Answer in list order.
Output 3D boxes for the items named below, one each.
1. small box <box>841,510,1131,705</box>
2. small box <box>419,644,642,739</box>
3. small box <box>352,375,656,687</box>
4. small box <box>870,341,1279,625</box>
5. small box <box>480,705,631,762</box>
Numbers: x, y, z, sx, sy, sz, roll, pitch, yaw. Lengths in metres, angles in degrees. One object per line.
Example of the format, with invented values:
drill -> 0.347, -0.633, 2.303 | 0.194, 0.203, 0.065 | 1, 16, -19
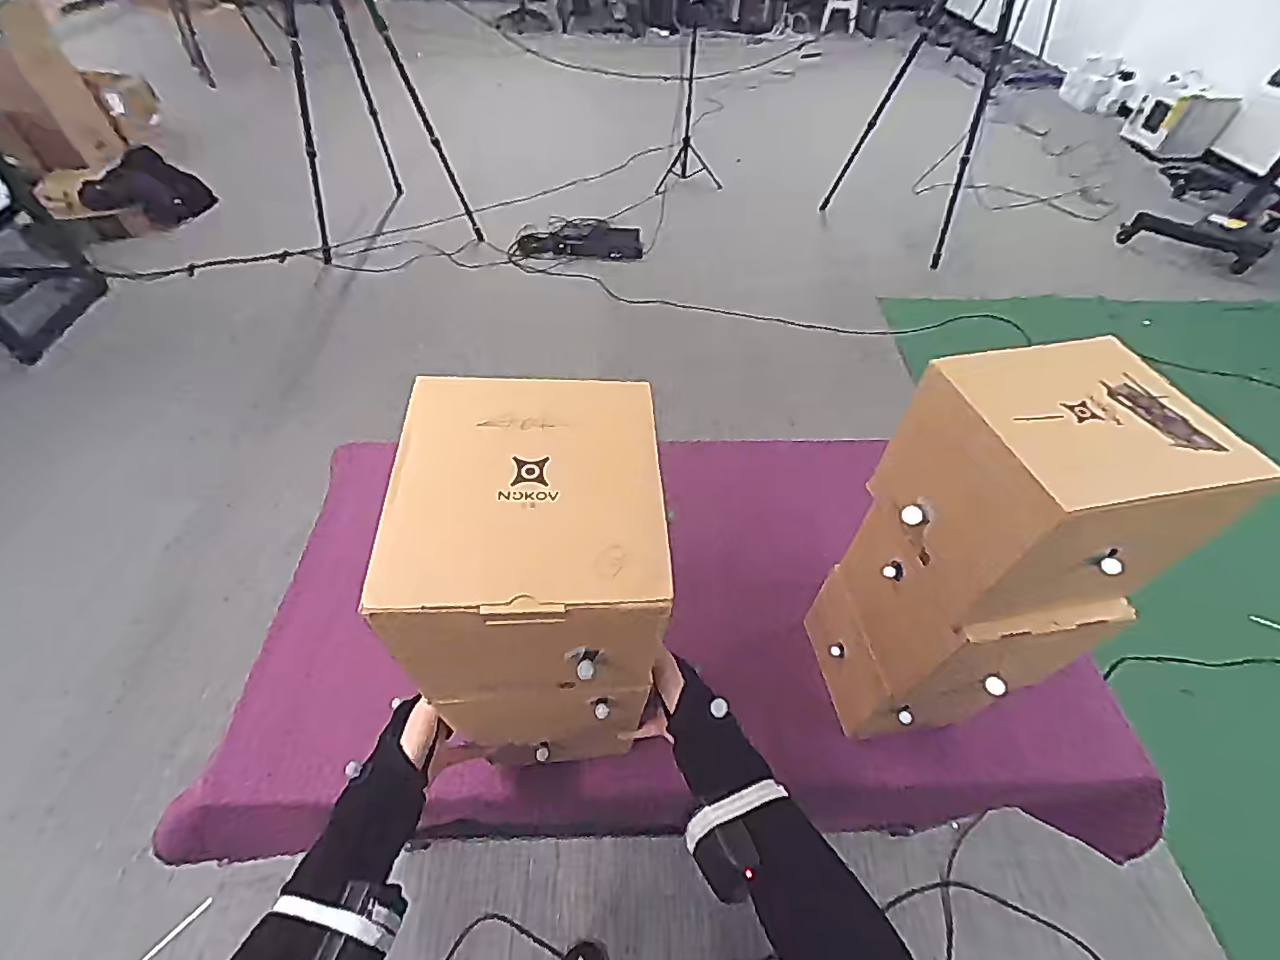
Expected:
small box -> 0.341, 0.119, 0.582 | 0.168, 0.176, 0.179 | -6, 50, -5
small box -> -0.096, 0.144, 0.529 | 0.179, 0.176, 0.168 | -1, 54, -8
small box -> -0.081, 0.046, 0.401 | 0.168, 0.176, 0.179 | 1, 53, -7
small box -> 0.333, 0.005, 0.463 | 0.179, 0.176, 0.168 | -8, 50, -7
small box -> -0.105, 0.236, 0.664 | 0.179, 0.176, 0.168 | -3, 54, -6
